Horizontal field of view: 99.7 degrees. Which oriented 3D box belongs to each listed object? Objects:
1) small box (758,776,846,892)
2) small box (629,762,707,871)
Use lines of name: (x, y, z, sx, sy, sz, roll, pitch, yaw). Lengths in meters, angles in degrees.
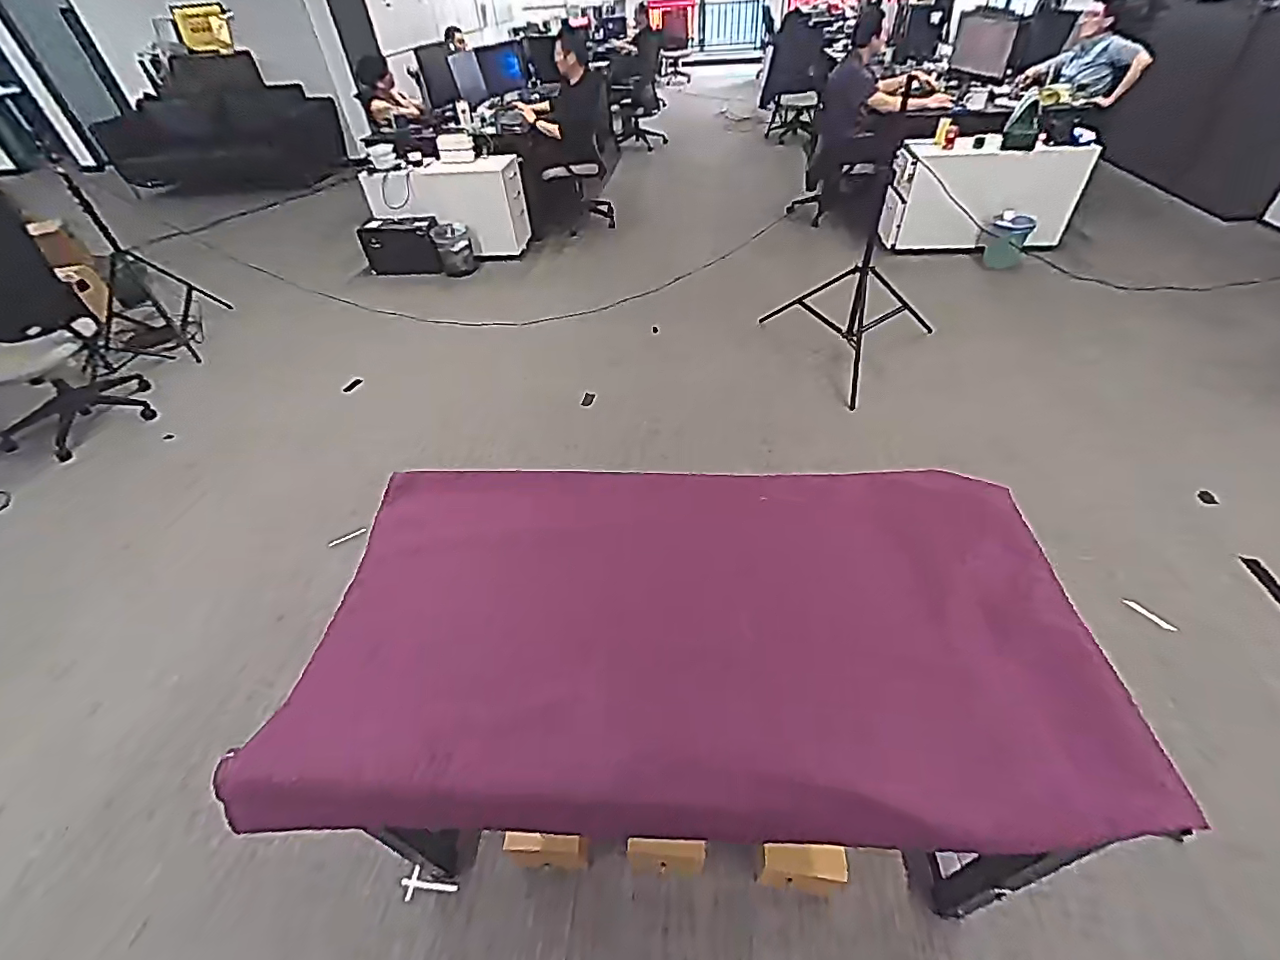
small box: (0.357, 0.799, 1.217, 0.168, 0.176, 0.179, 4, 43, 9)
small box: (0.071, 0.783, 1.255, 0.168, 0.176, 0.179, 2, 43, 7)
